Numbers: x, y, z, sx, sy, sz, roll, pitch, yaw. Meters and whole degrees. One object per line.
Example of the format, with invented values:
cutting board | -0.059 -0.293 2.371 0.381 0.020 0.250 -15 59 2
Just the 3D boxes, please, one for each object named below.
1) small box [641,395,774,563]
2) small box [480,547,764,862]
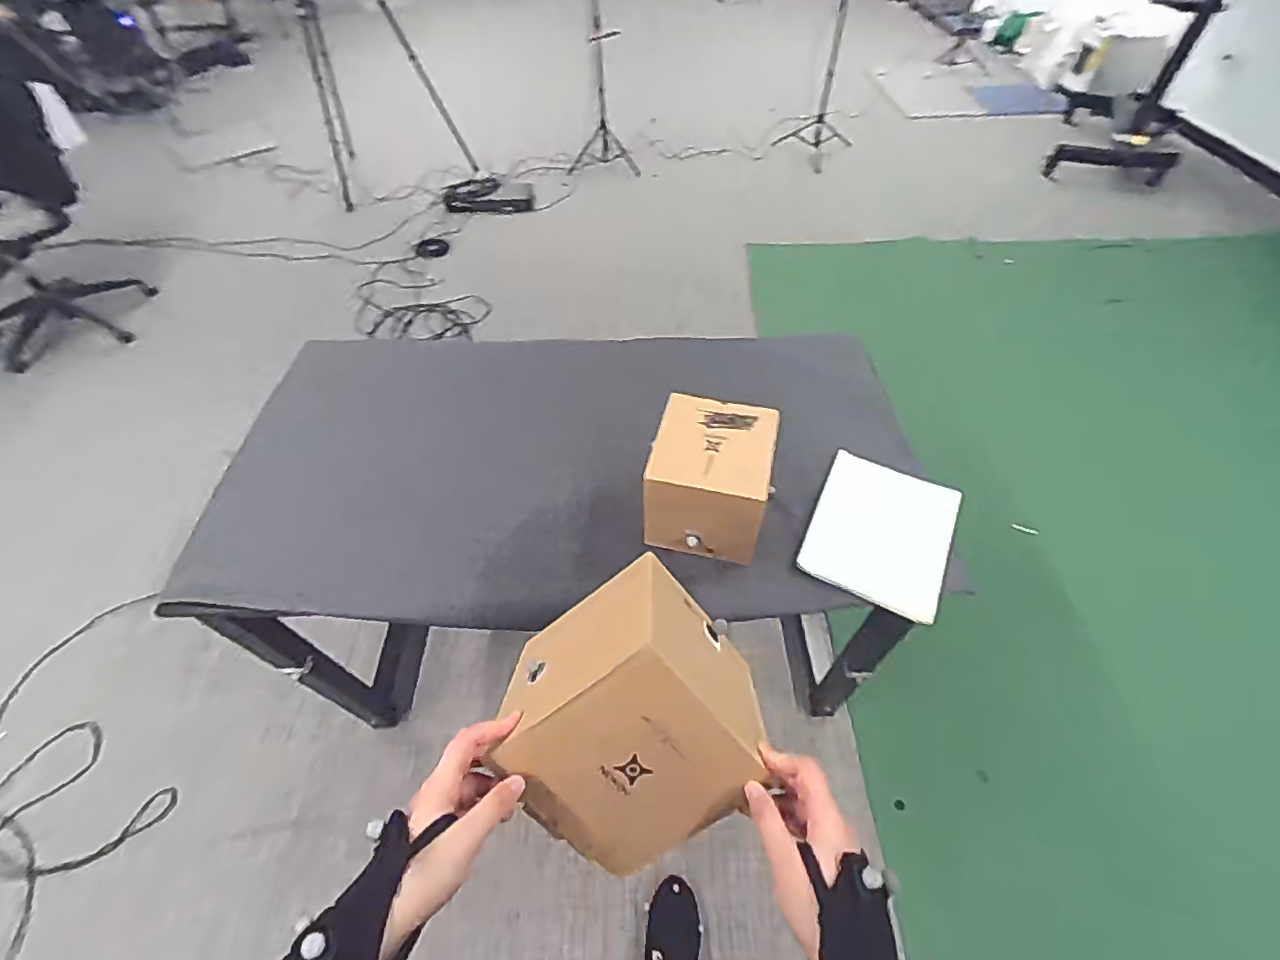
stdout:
small box | 0.101 -0.001 0.832 0.168 0.176 0.179 10 53 11
small box | -0.014 0.198 0.512 0.179 0.168 0.176 -41 14 11
